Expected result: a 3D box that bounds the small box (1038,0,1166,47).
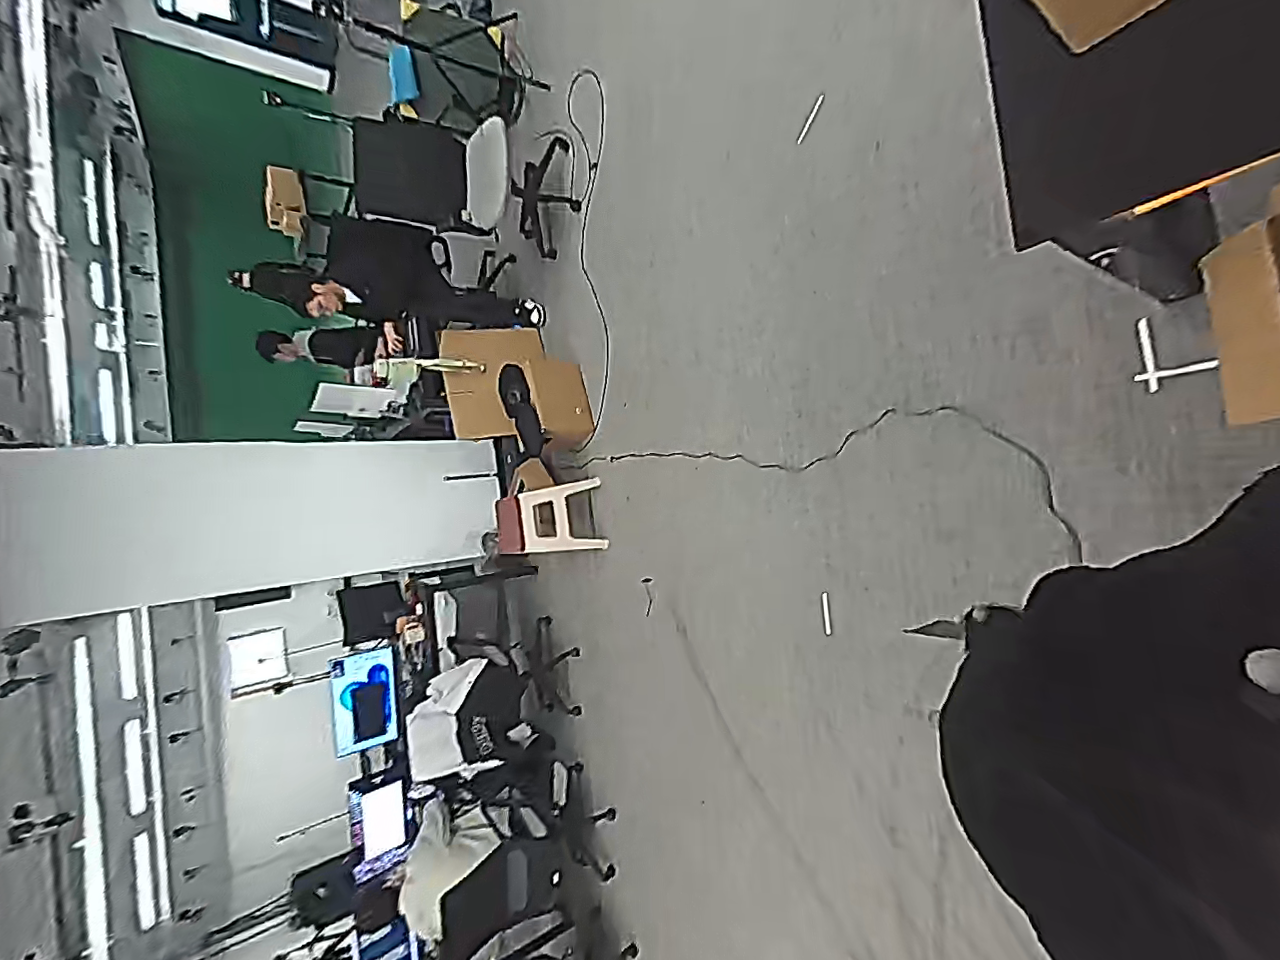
[{"bbox_3d":[0.474,-0.581,0.519,0.168,0.176,0.179,-11,84,53],"label":"small box"}]
